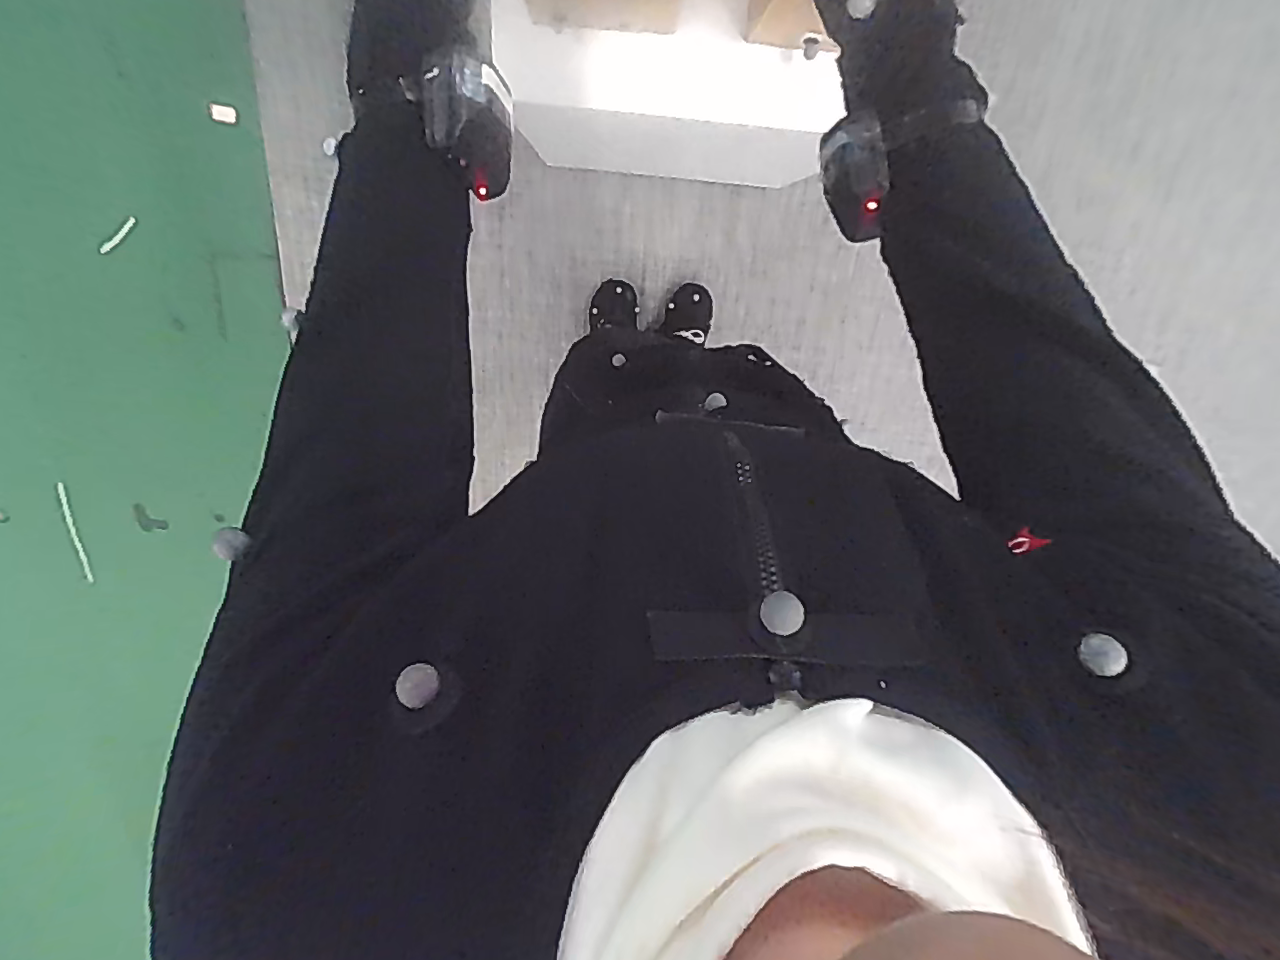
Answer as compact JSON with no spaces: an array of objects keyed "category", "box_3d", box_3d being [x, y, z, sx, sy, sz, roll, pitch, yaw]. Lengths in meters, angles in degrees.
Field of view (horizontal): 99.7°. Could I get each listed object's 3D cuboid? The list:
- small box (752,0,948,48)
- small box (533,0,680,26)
[{"category":"small box","box_3d":[0.211,-0.552,0.517,0.168,0.176,0.179,2,115,-1]},{"category":"small box","box_3d":[-0.034,-0.571,0.515,0.168,0.176,0.179,1,112,-3]}]
